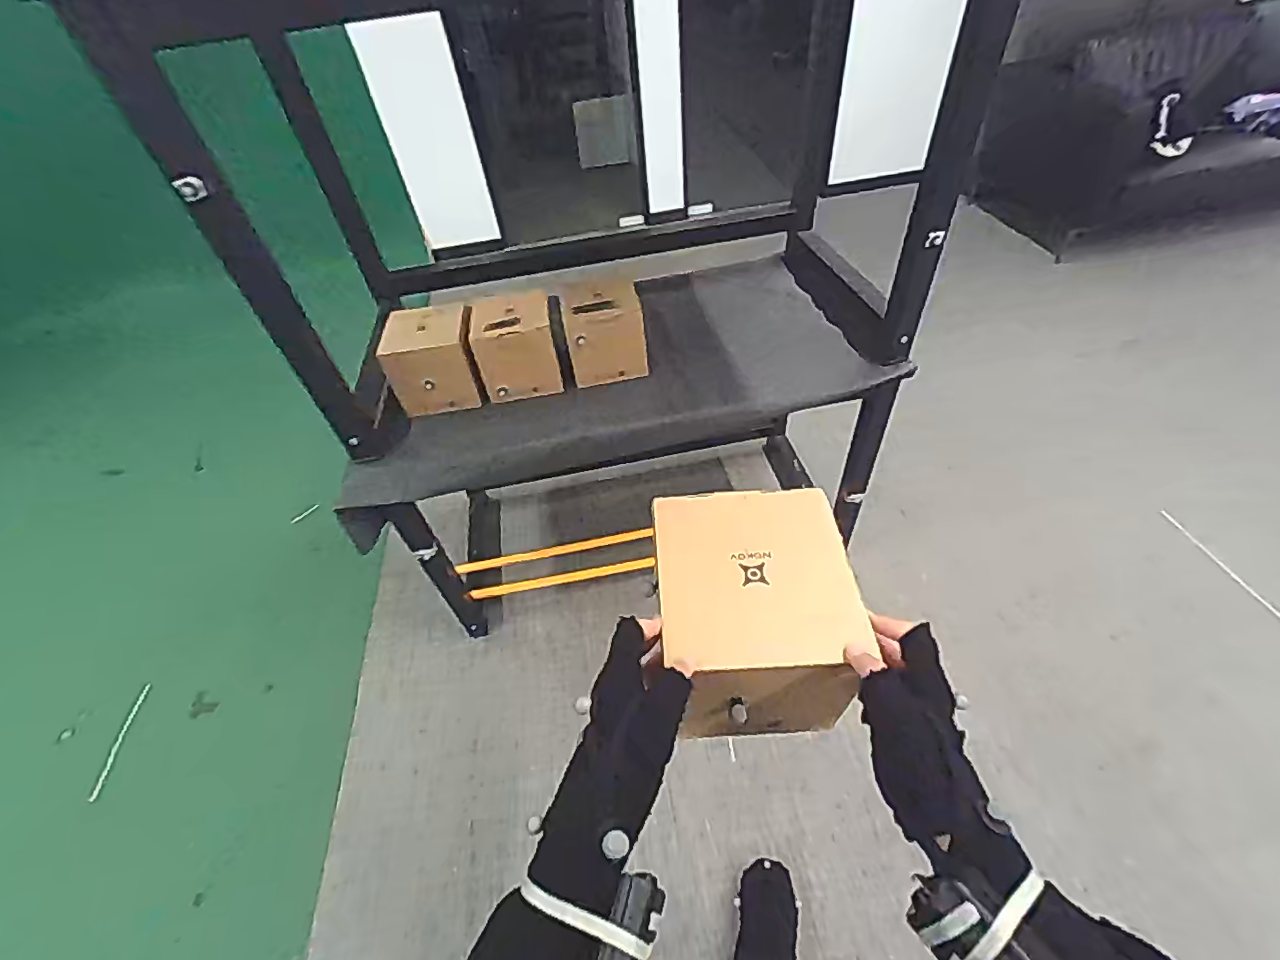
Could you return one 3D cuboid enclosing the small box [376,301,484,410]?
[{"bbox_3d":[-0.449,-0.267,1.191,0.168,0.176,0.179,-8,46,-2],"label":"small box"}]
